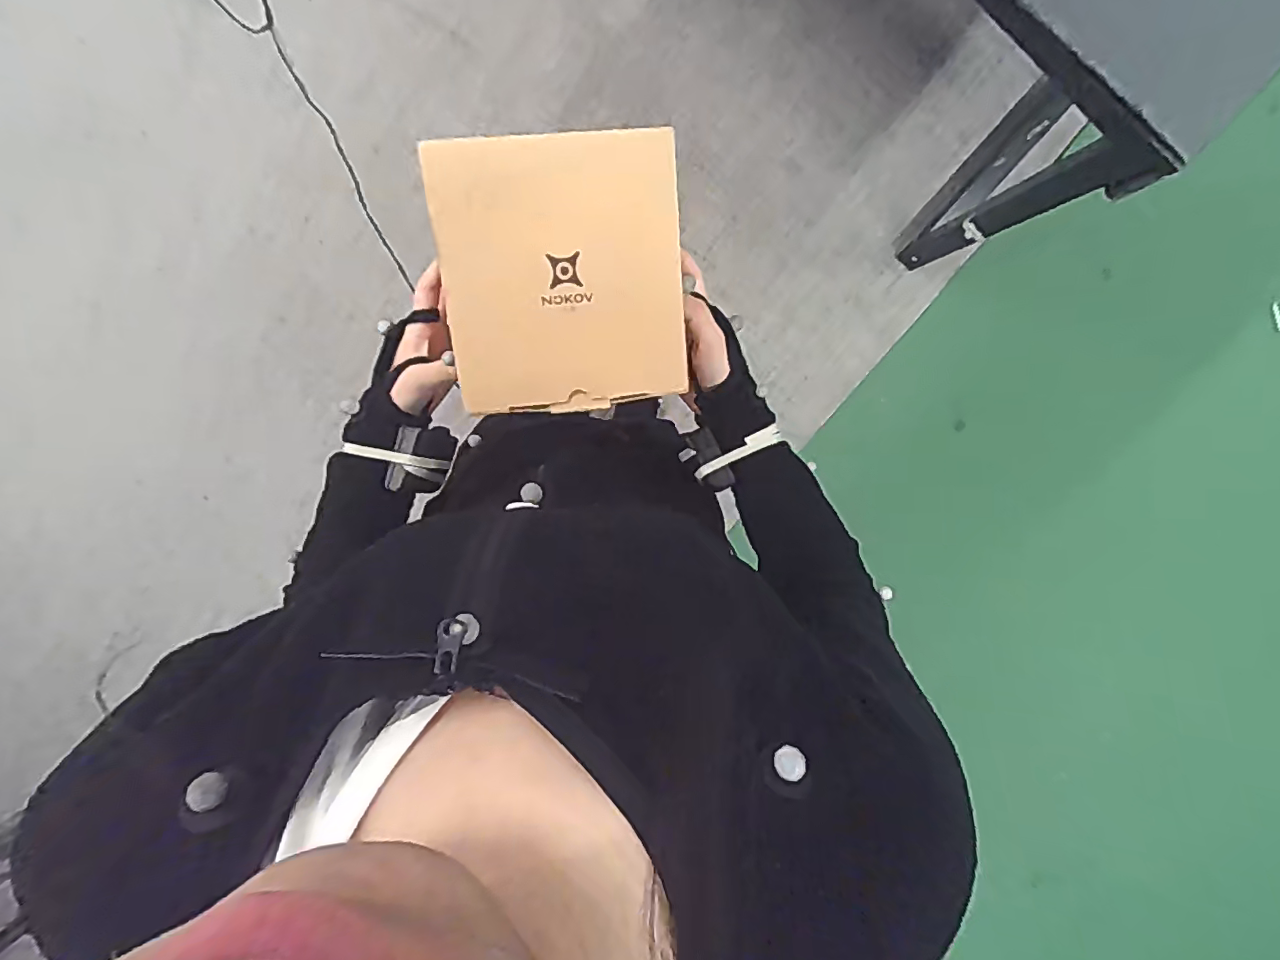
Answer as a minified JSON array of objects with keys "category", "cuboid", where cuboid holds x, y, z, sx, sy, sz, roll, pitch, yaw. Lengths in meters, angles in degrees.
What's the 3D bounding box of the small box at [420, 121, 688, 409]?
[{"category":"small box","cuboid":[-0.063,-0.165,0.442,0.168,0.176,0.179,-7,109,-7]}]
